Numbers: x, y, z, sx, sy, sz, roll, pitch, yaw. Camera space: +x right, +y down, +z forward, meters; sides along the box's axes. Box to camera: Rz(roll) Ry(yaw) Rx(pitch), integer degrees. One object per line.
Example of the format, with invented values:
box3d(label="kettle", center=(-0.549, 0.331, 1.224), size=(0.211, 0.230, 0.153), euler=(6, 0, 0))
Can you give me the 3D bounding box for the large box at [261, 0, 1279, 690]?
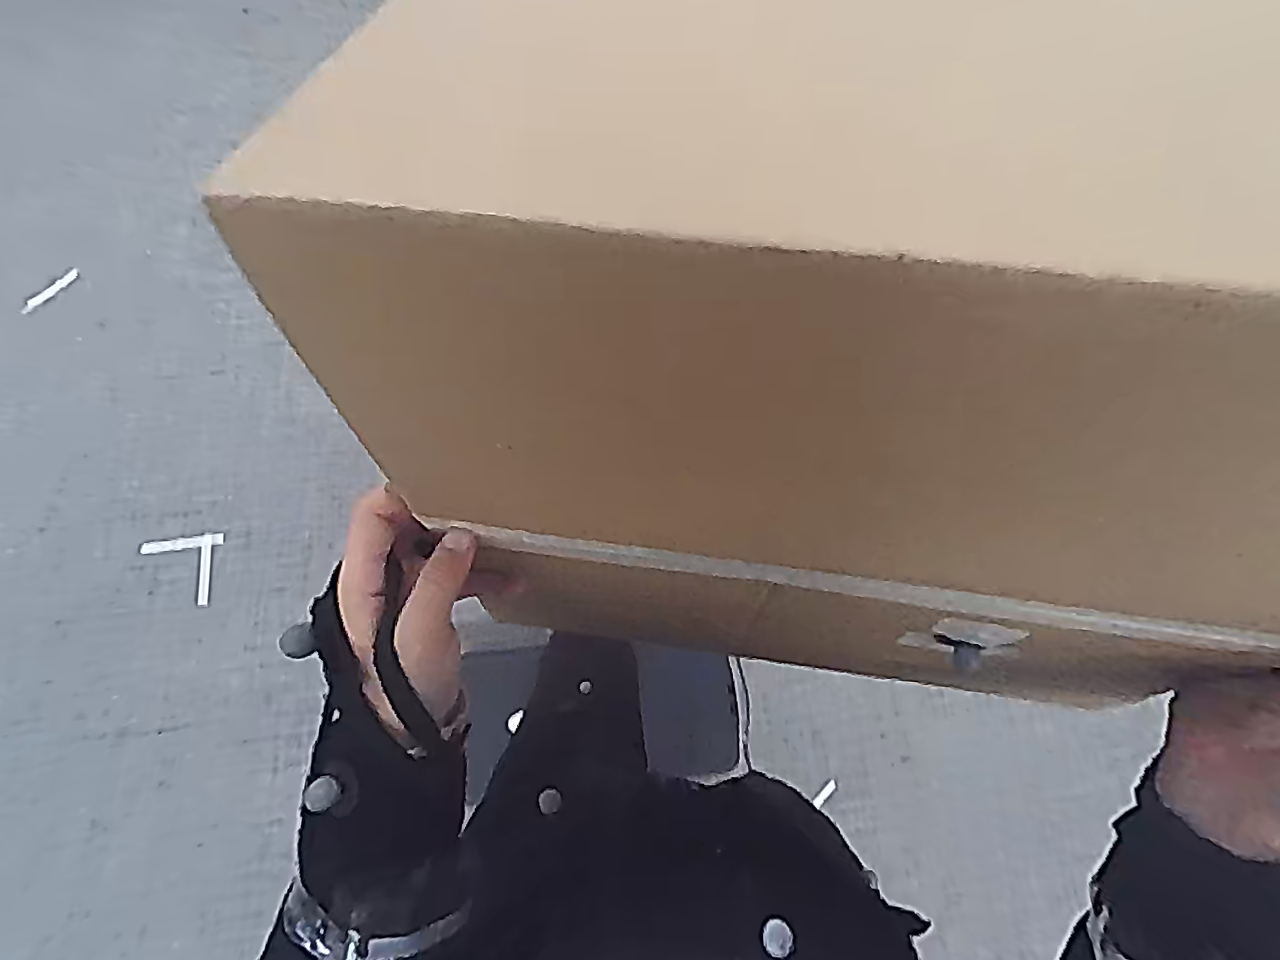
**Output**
box3d(label="large box", center=(0.112, -0.087, 0.330), size=(0.408, 0.320, 0.320), euler=(6, 59, 4))
